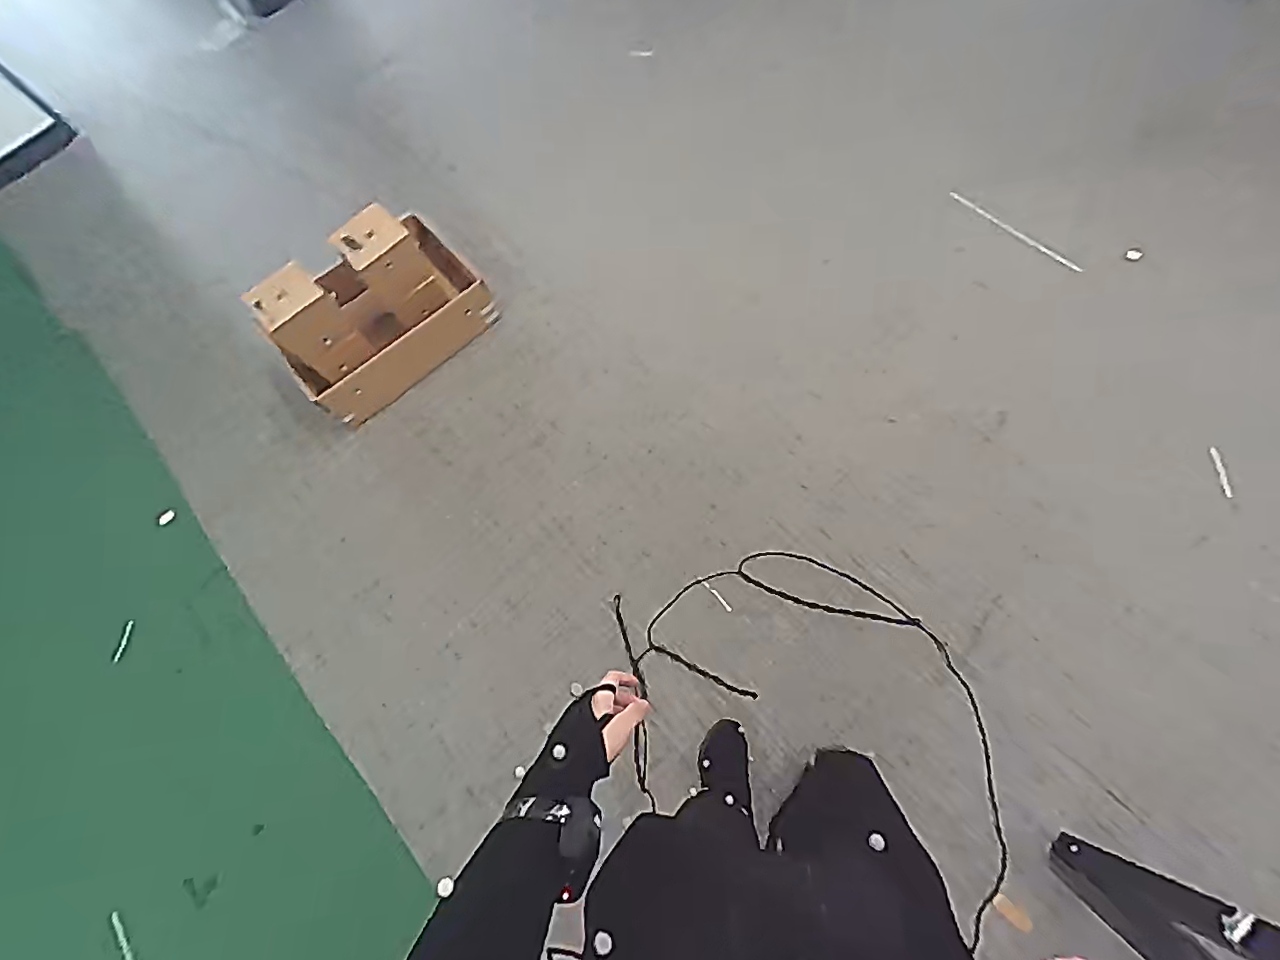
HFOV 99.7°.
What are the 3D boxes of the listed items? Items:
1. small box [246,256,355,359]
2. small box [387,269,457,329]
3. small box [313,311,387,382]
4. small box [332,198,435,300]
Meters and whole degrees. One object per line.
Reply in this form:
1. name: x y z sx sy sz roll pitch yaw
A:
1. small box: -0.939 -0.479 1.521 0.179 0.176 0.168 -41 72 -10
2. small box: -0.717 -0.608 1.718 0.168 0.176 0.179 -39 72 -8
3. small box: -0.929 -0.428 1.678 0.168 0.176 0.179 -41 73 -9
4. small box: -0.732 -0.659 1.562 0.179 0.176 0.168 -43 74 -9
